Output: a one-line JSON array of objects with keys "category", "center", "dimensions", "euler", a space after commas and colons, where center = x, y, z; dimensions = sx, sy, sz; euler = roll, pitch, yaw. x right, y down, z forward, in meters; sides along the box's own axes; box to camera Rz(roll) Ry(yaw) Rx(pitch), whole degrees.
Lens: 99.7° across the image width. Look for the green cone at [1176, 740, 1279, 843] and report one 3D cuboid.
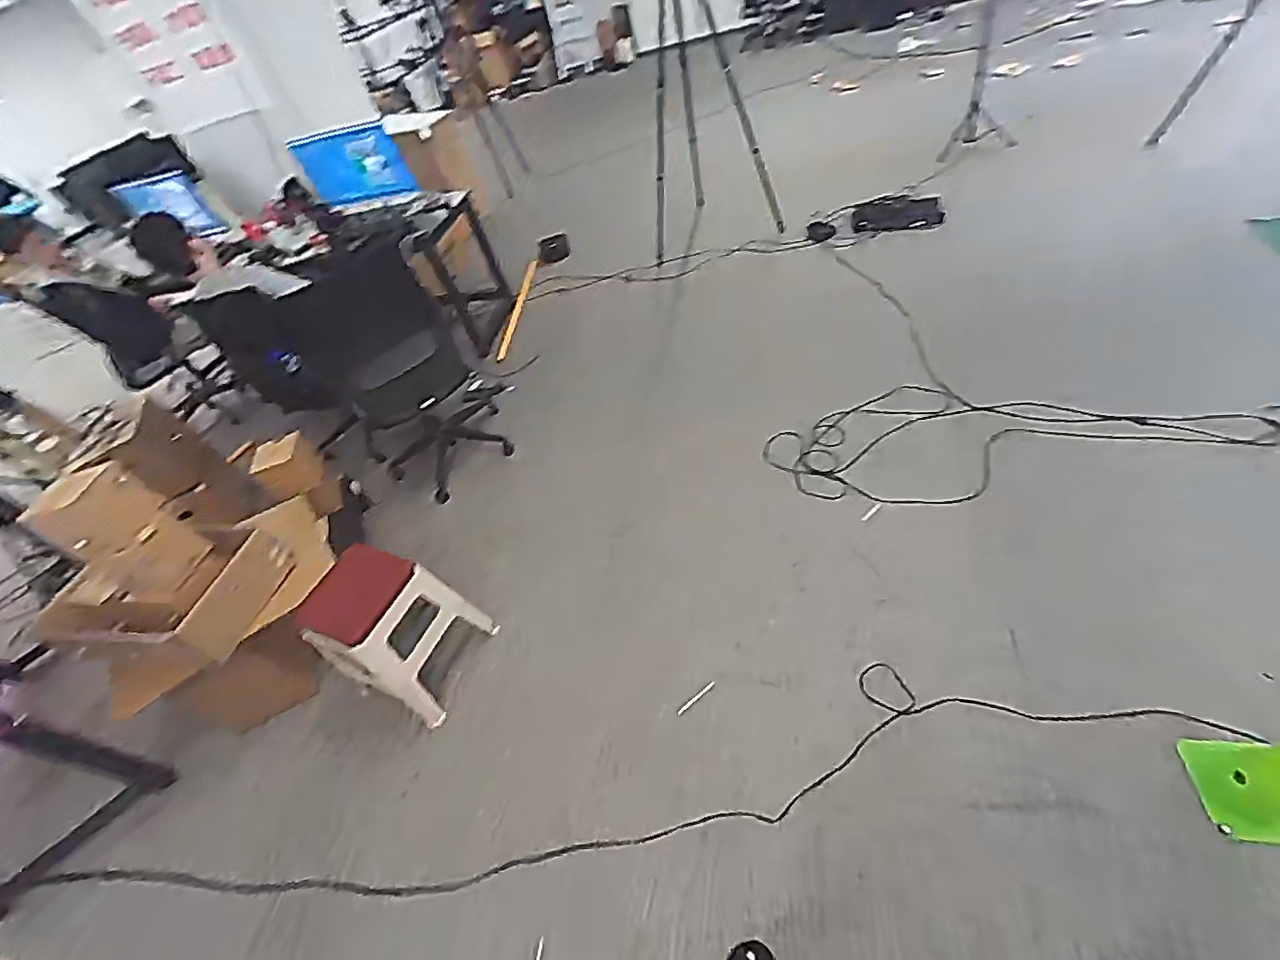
[{"category": "green cone", "center": [1.300, 0.564, 1.064], "dimensions": [0.200, 0.368, 0.202], "euler": [-4, 46, 15]}]
